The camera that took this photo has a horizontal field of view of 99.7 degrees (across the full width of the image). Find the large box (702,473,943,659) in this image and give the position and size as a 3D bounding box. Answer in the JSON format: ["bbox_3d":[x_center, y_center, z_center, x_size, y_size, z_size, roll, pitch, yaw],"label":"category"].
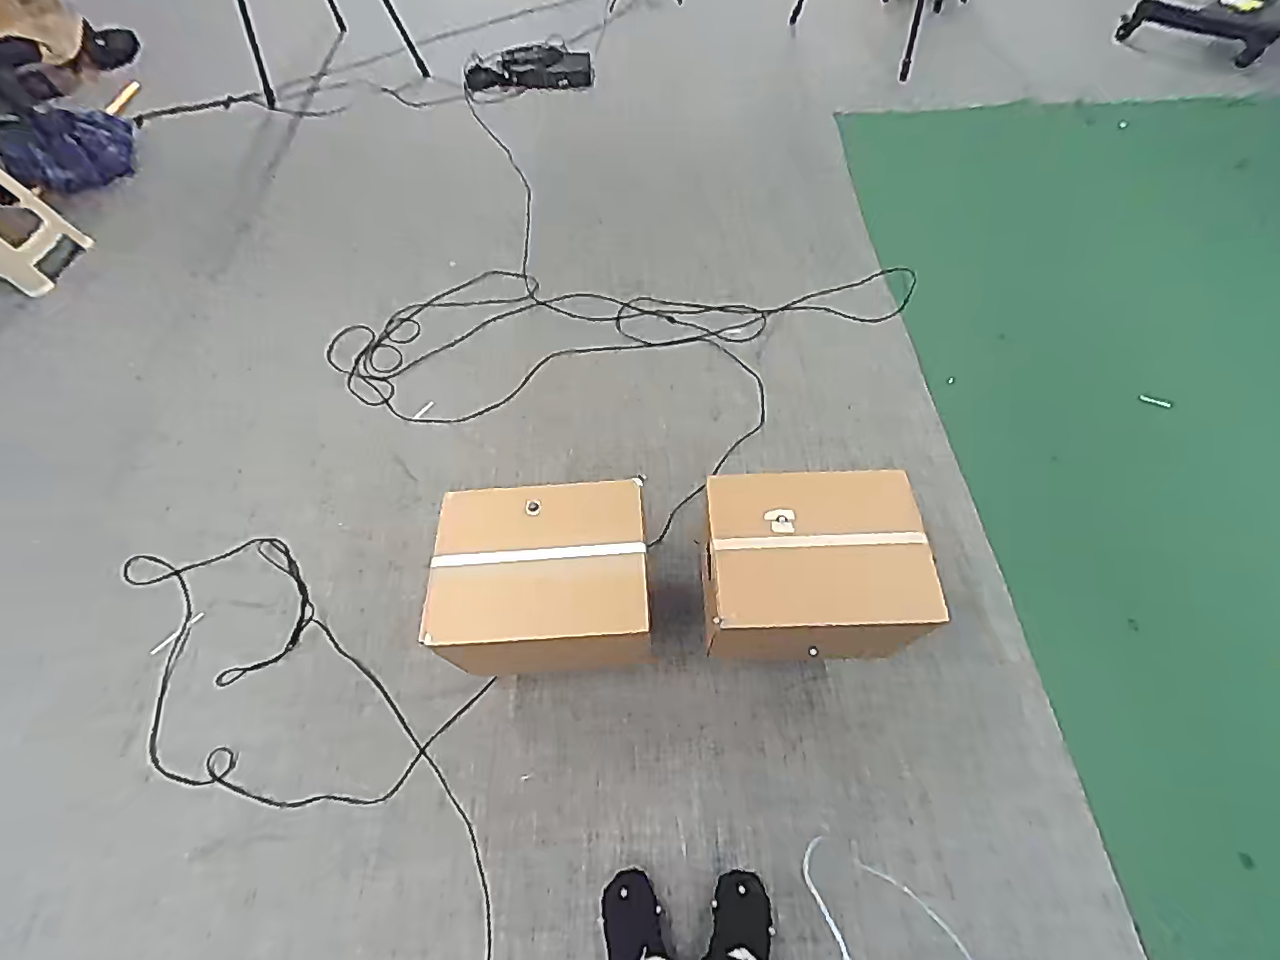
[{"bbox_3d":[0.351,0.200,1.171,0.408,0.320,0.320,-2,60,2],"label":"large box"}]
